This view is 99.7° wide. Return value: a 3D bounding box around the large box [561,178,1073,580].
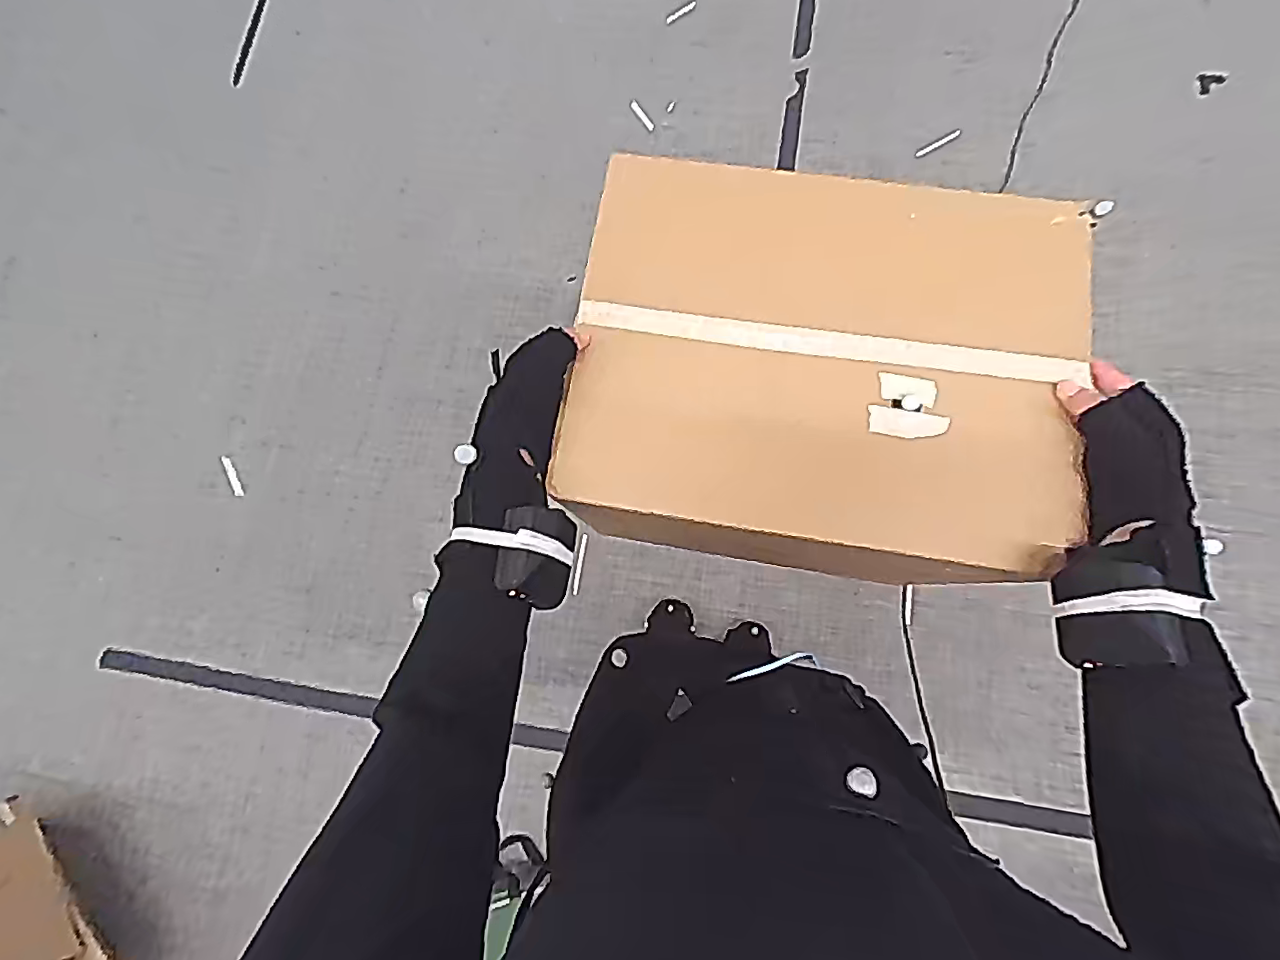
[{"bbox_3d":[0.155,-0.073,0.596,0.408,0.320,0.320,8,80,4],"label":"large box"}]
